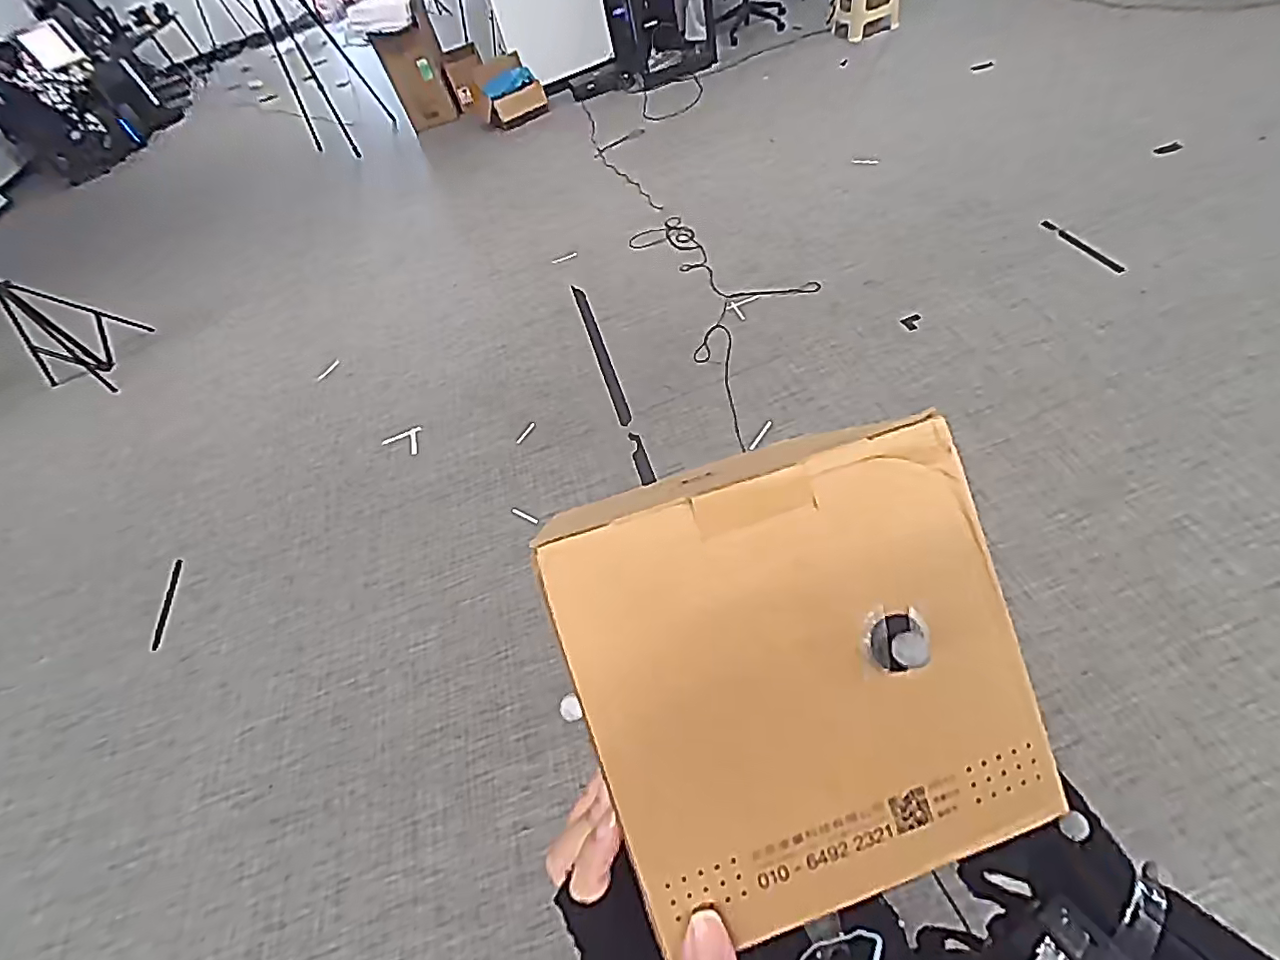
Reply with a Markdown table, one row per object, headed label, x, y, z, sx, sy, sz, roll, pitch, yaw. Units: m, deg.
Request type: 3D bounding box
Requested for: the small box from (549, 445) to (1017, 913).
| label | x | y | z | sx | sy | sz | roll | pitch | yaw |
| --- | --- | --- | --- | --- | --- | --- | --- | --- | --- |
| small box | 0.060 | 0.090 | 0.302 | 0.168 | 0.179 | 0.176 | -18 | 91 | -4 |
